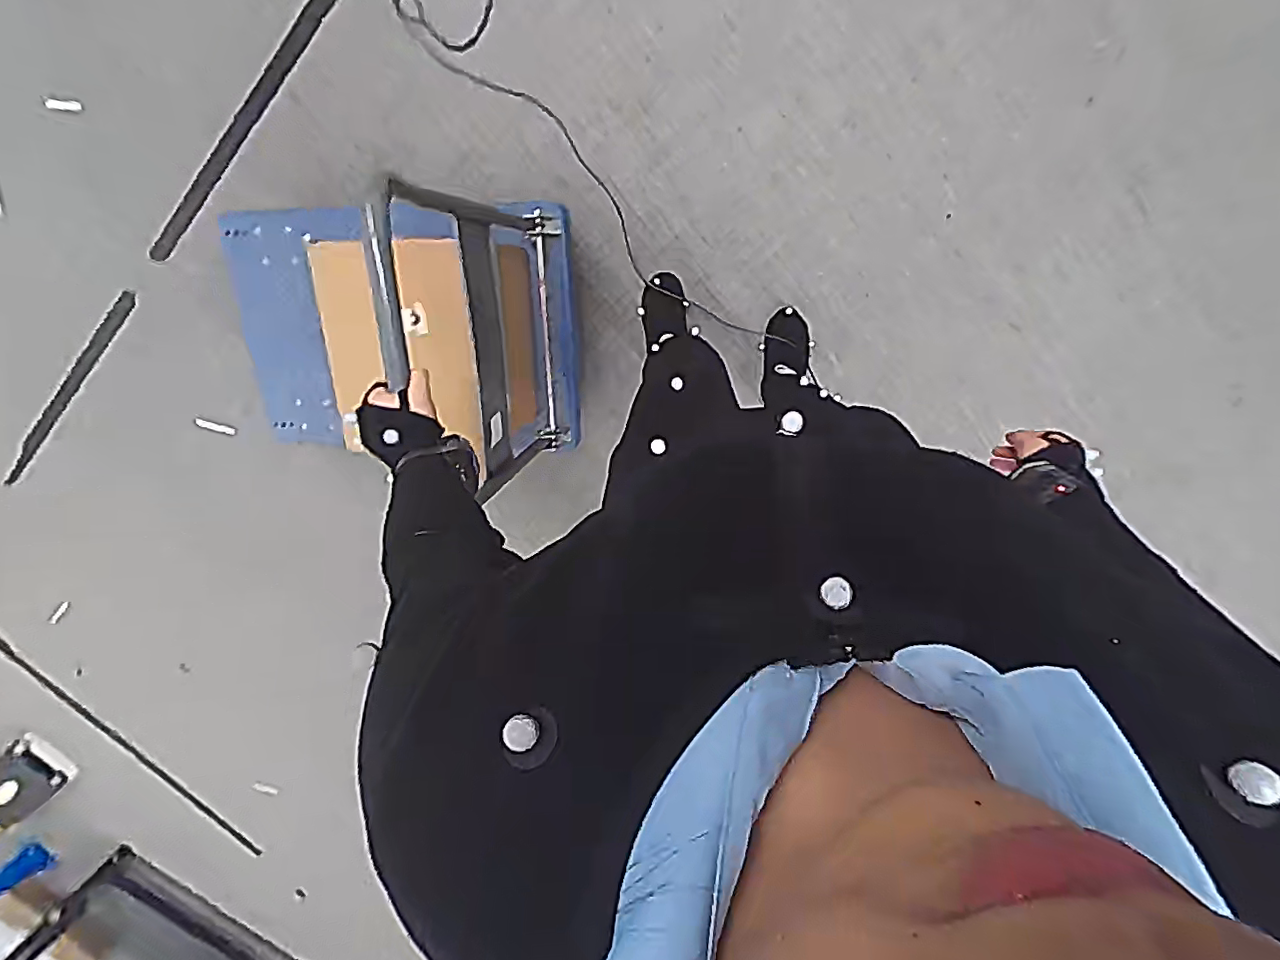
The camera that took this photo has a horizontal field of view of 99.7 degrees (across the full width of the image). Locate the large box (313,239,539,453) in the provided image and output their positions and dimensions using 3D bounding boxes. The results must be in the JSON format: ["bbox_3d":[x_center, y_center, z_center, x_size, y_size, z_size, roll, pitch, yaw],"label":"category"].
[{"bbox_3d":[-0.427,-0.293,1.177,0.320,0.320,0.408,3,111,8],"label":"large box"}]
